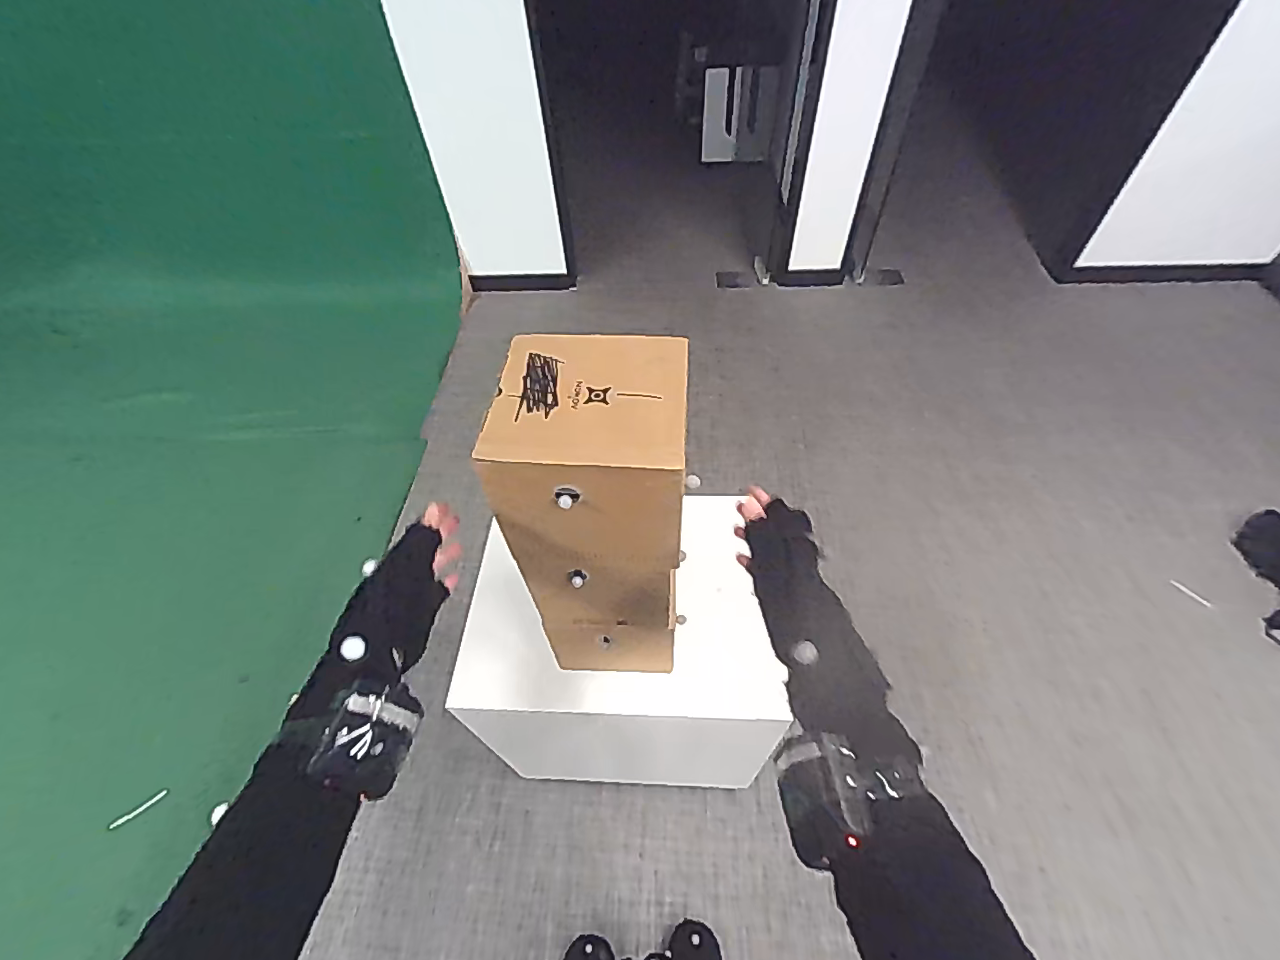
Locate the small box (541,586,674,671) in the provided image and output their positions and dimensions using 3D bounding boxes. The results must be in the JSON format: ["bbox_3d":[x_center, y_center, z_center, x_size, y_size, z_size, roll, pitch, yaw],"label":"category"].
[{"bbox_3d":[-0.037,0.178,0.814,0.179,0.176,0.168,1,52,3],"label":"small box"}]

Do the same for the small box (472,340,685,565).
[{"bbox_3d":[-0.045,-0.024,0.556,0.179,0.176,0.168,2,52,5],"label":"small box"}]

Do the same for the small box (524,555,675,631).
[{"bbox_3d":[-0.041,0.075,0.690,0.168,0.176,0.179,0,53,2],"label":"small box"}]
